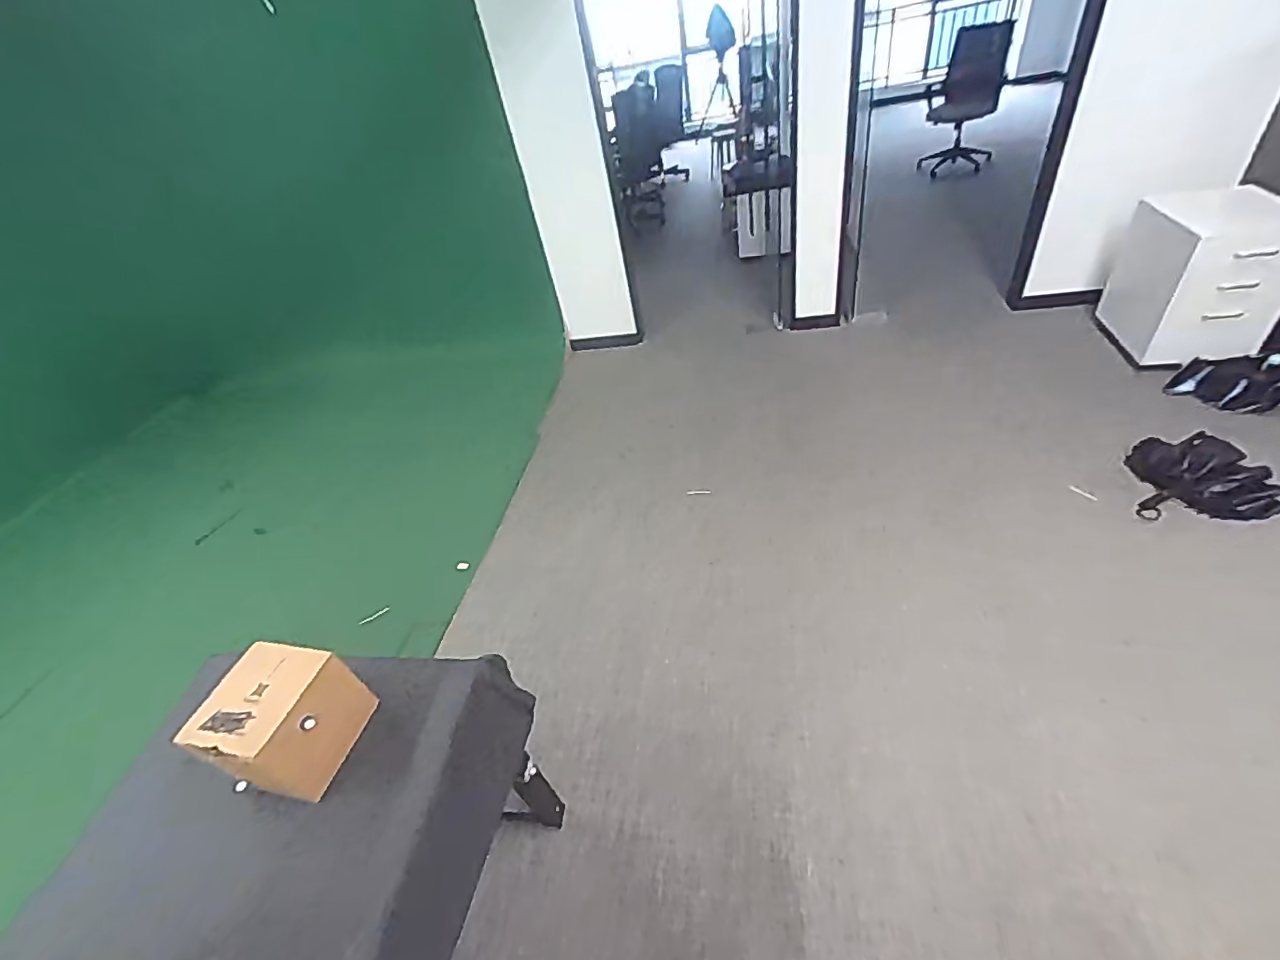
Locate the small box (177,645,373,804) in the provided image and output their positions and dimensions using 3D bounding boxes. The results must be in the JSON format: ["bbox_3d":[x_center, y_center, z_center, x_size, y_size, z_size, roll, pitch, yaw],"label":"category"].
[{"bbox_3d":[-0.584,0.404,0.895,0.168,0.176,0.179,2,41,17],"label":"small box"}]
